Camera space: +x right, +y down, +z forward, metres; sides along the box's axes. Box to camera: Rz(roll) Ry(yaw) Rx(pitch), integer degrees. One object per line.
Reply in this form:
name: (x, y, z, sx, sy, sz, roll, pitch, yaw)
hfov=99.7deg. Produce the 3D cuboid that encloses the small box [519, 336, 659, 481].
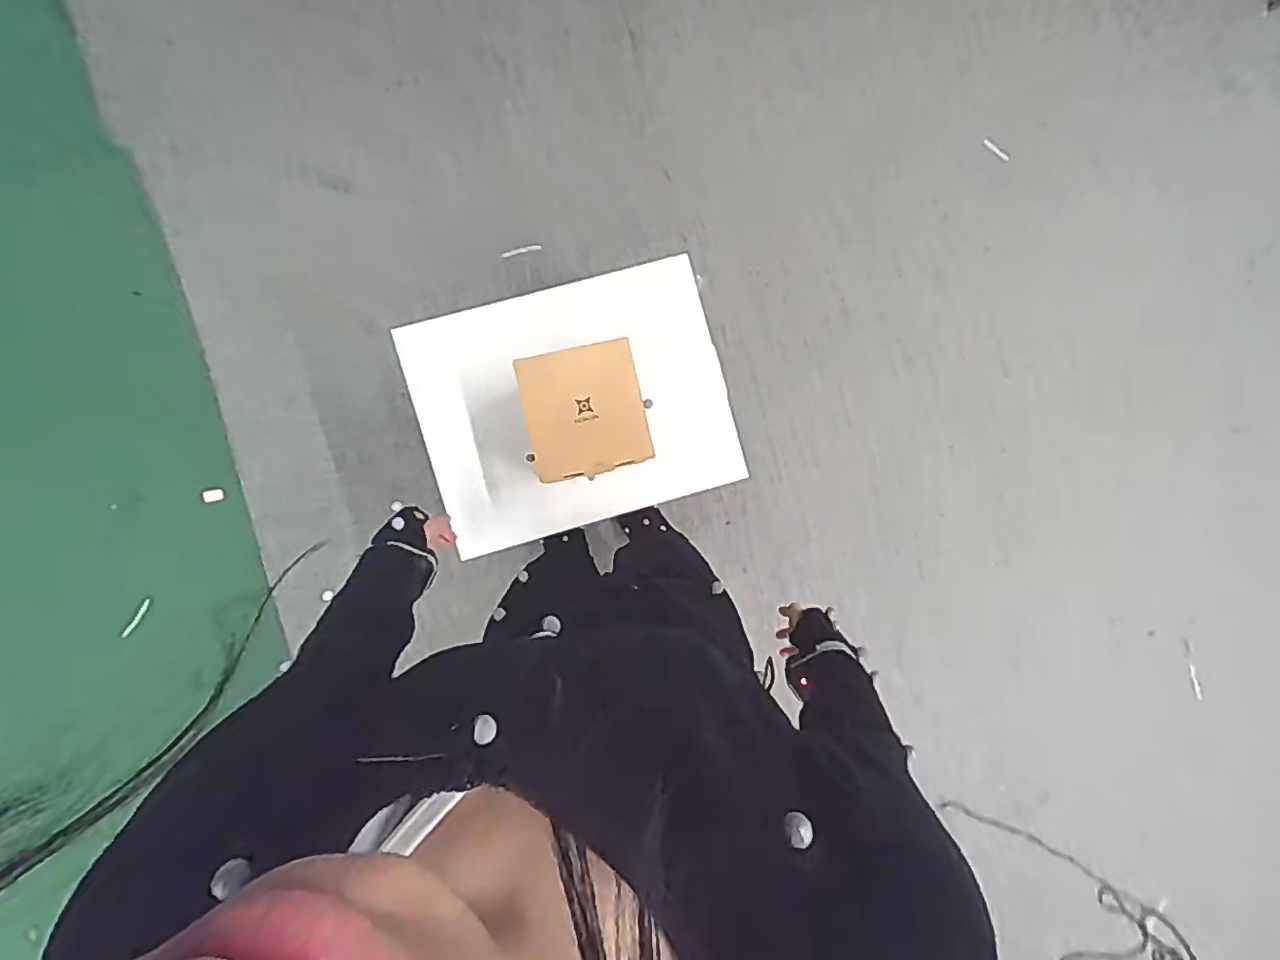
small box: (-0.077, -0.099, 0.820, 0.168, 0.176, 0.179, -13, 92, -5)
